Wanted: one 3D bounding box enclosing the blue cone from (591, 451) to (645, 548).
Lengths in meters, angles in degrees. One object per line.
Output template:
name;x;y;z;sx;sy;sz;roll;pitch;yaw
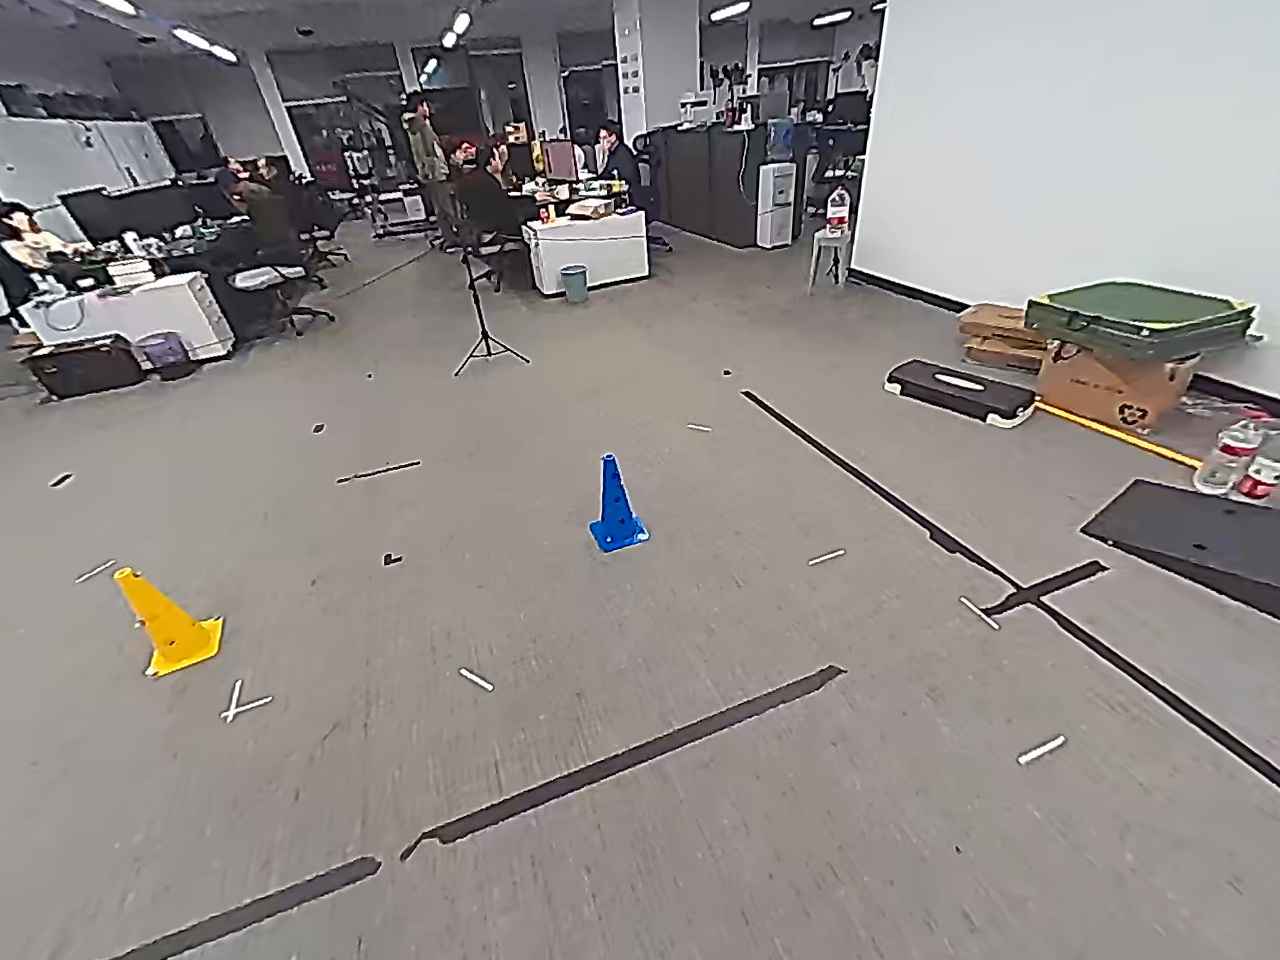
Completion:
blue cone;-0.102;0.062;2.074;0.193;0.380;0.192;-15;35;-14
